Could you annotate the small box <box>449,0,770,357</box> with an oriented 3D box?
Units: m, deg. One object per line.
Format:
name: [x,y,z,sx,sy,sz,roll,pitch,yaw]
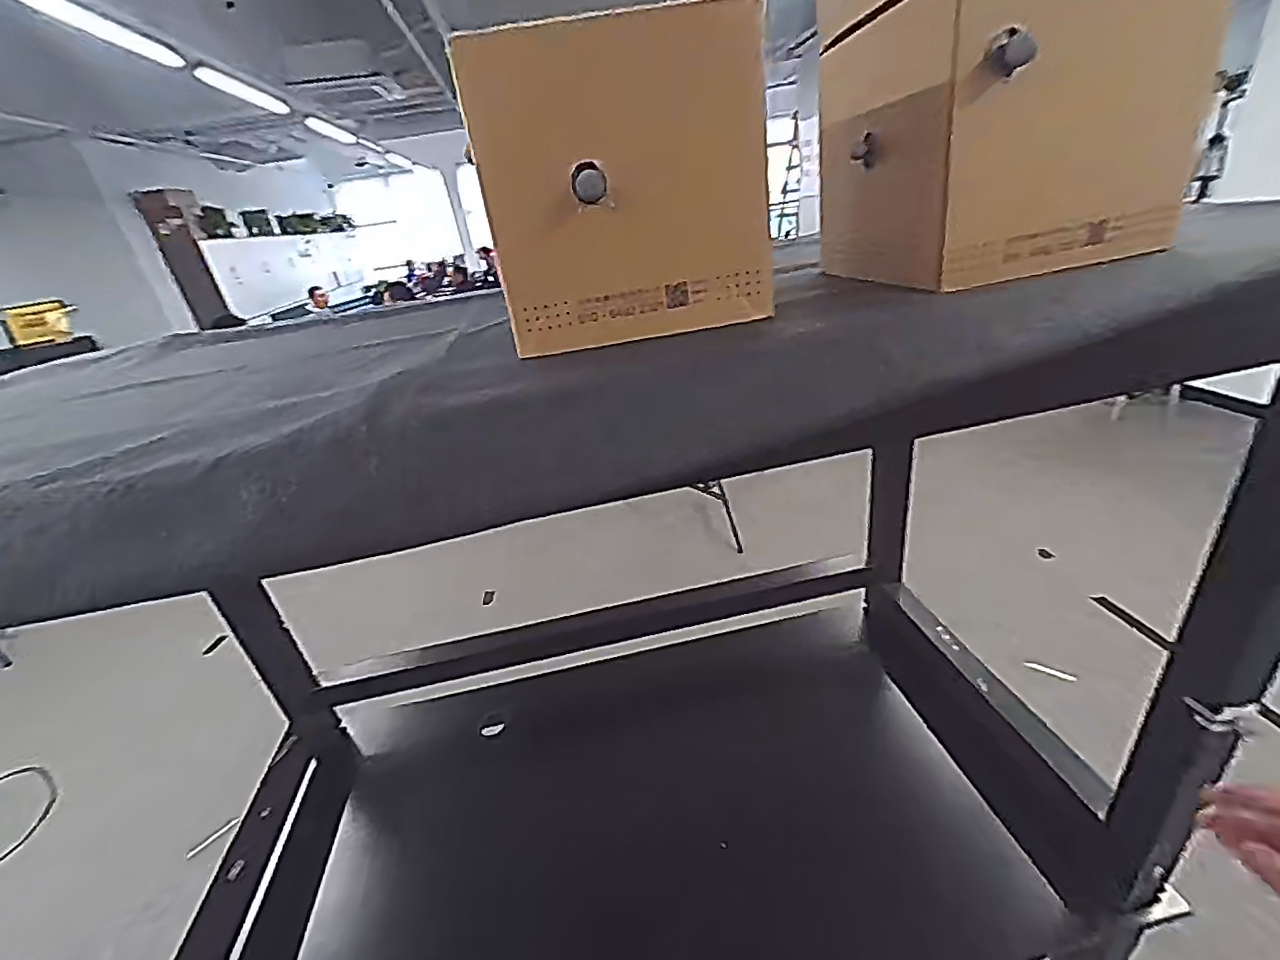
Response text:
small box: [-0.013,-0.192,0.383,0.168,0.176,0.179,-10,25,-2]

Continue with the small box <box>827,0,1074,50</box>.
small box: [0.219,-0.379,0.310,0.179,0.176,0.168,-12,24,-3]
